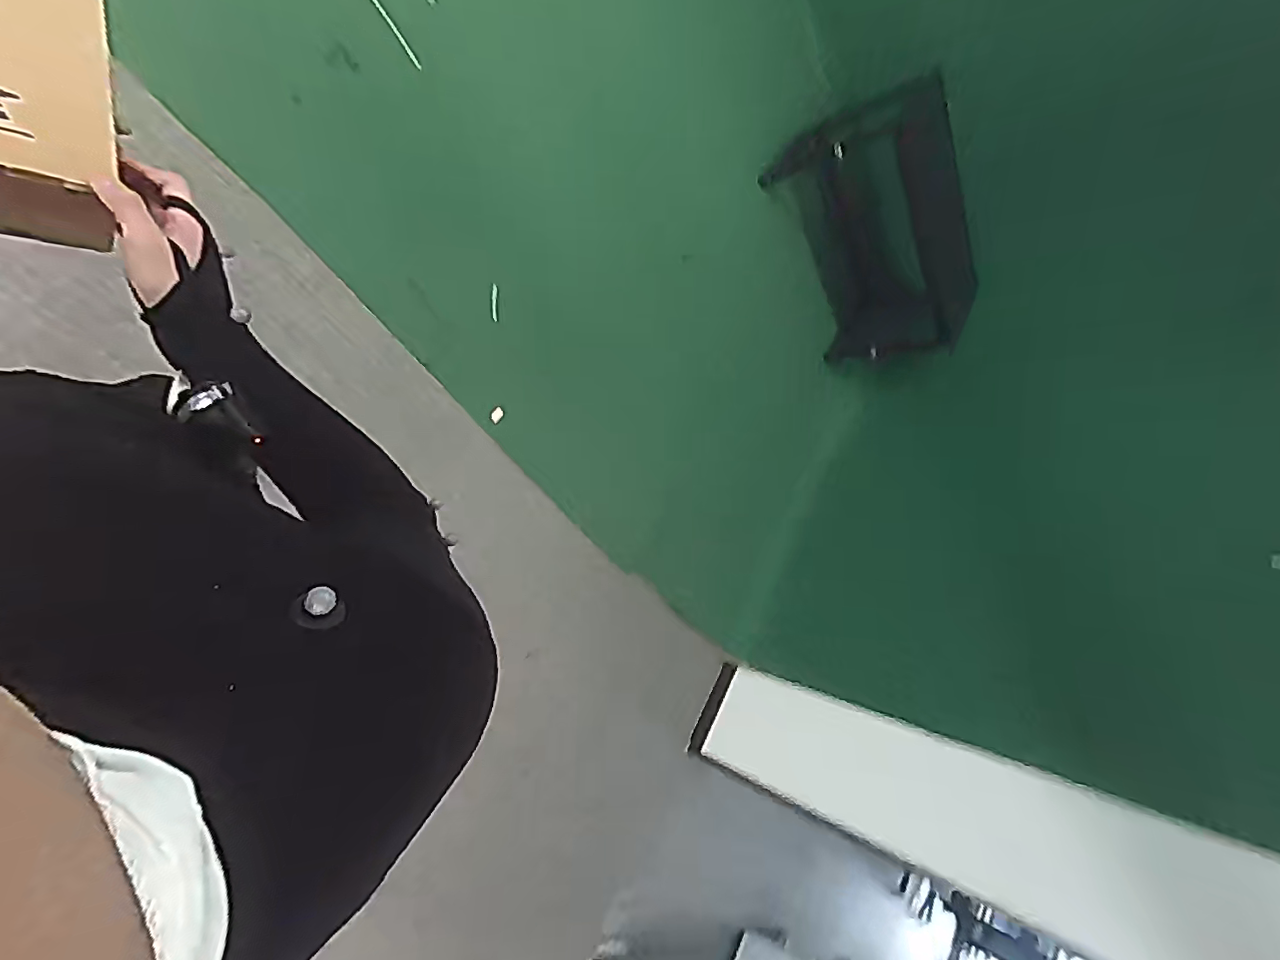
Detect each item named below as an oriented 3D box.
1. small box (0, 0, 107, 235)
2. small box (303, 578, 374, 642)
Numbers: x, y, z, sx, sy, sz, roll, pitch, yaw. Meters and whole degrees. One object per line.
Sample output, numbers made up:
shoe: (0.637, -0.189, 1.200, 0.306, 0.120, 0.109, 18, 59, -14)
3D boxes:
small box: (-0.534, -0.312, 0.417, 0.168, 0.176, 0.179, -8, 96, -46)
small box: (-0.758, 0.385, 1.456, 0.168, 0.176, 0.179, -54, 129, -27)
